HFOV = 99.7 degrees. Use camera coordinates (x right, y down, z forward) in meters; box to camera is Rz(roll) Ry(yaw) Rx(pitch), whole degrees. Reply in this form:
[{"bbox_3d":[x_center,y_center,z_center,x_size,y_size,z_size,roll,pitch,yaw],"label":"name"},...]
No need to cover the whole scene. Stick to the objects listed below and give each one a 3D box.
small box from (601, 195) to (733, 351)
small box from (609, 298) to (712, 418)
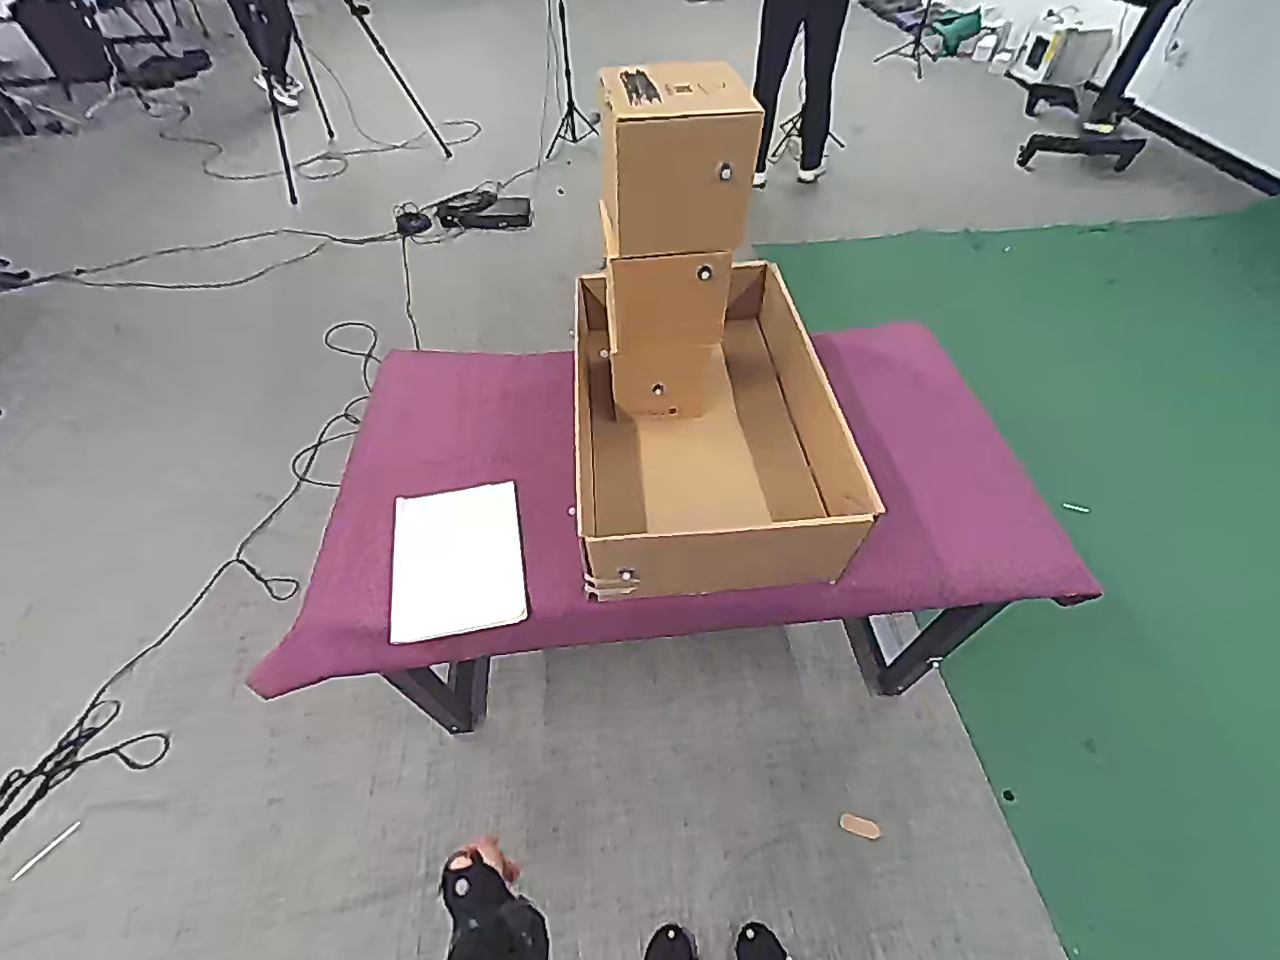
[{"bbox_3d":[0.037,-0.319,0.849,0.179,0.176,0.168,-6,54,-4],"label":"small box"},{"bbox_3d":[0.034,-0.225,0.980,0.168,0.176,0.179,-4,54,-2],"label":"small box"}]
